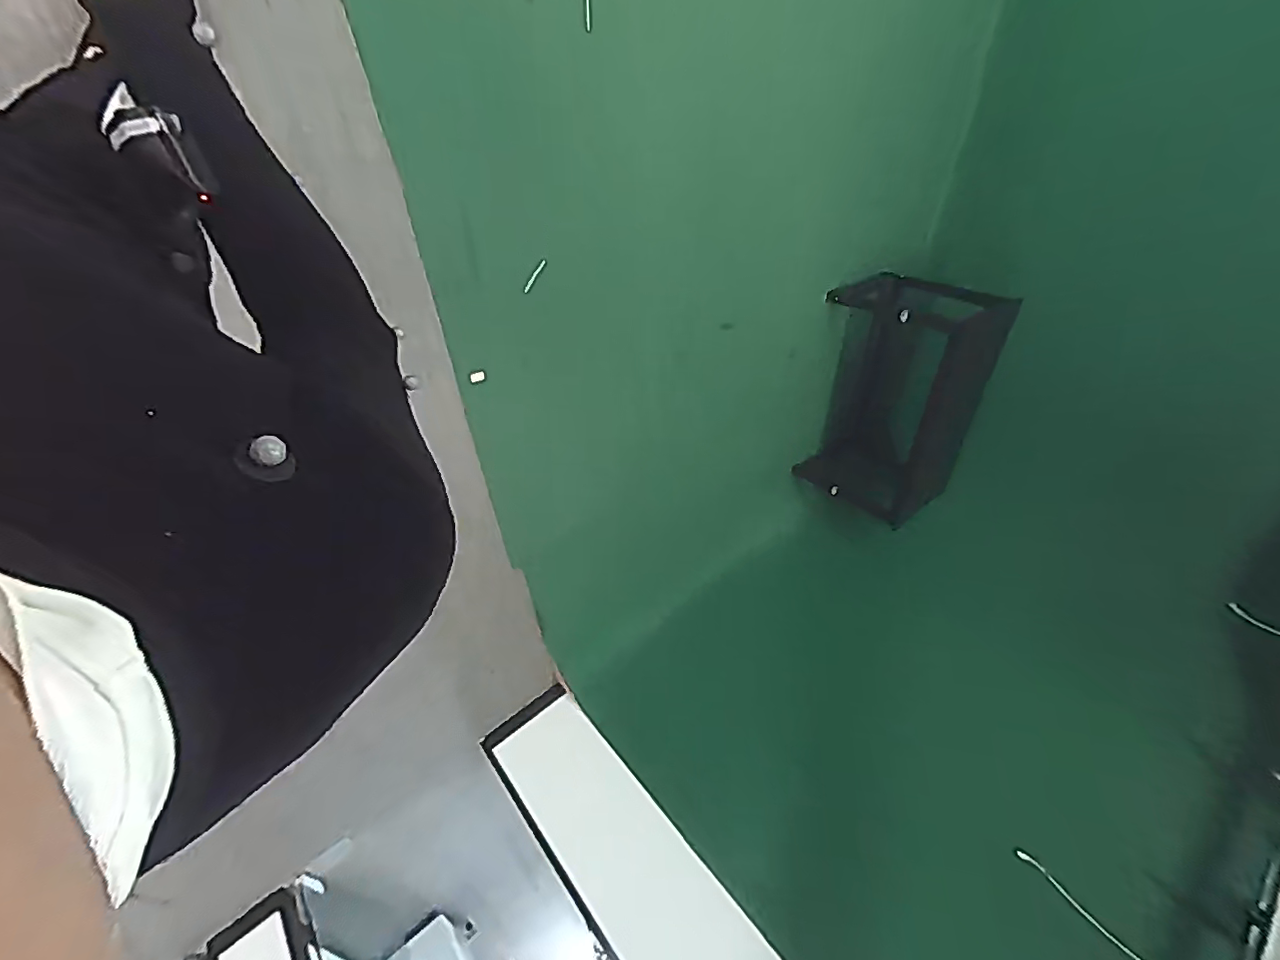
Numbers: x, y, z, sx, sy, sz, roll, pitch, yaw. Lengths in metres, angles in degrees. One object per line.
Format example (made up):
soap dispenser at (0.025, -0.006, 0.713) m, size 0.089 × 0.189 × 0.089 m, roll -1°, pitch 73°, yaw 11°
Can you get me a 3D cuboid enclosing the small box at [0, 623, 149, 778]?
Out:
small box at (-1.088, 0.407, 1.026) m, size 0.179 × 0.176 × 0.168 m, roll -27°, pitch 133°, yaw -30°
